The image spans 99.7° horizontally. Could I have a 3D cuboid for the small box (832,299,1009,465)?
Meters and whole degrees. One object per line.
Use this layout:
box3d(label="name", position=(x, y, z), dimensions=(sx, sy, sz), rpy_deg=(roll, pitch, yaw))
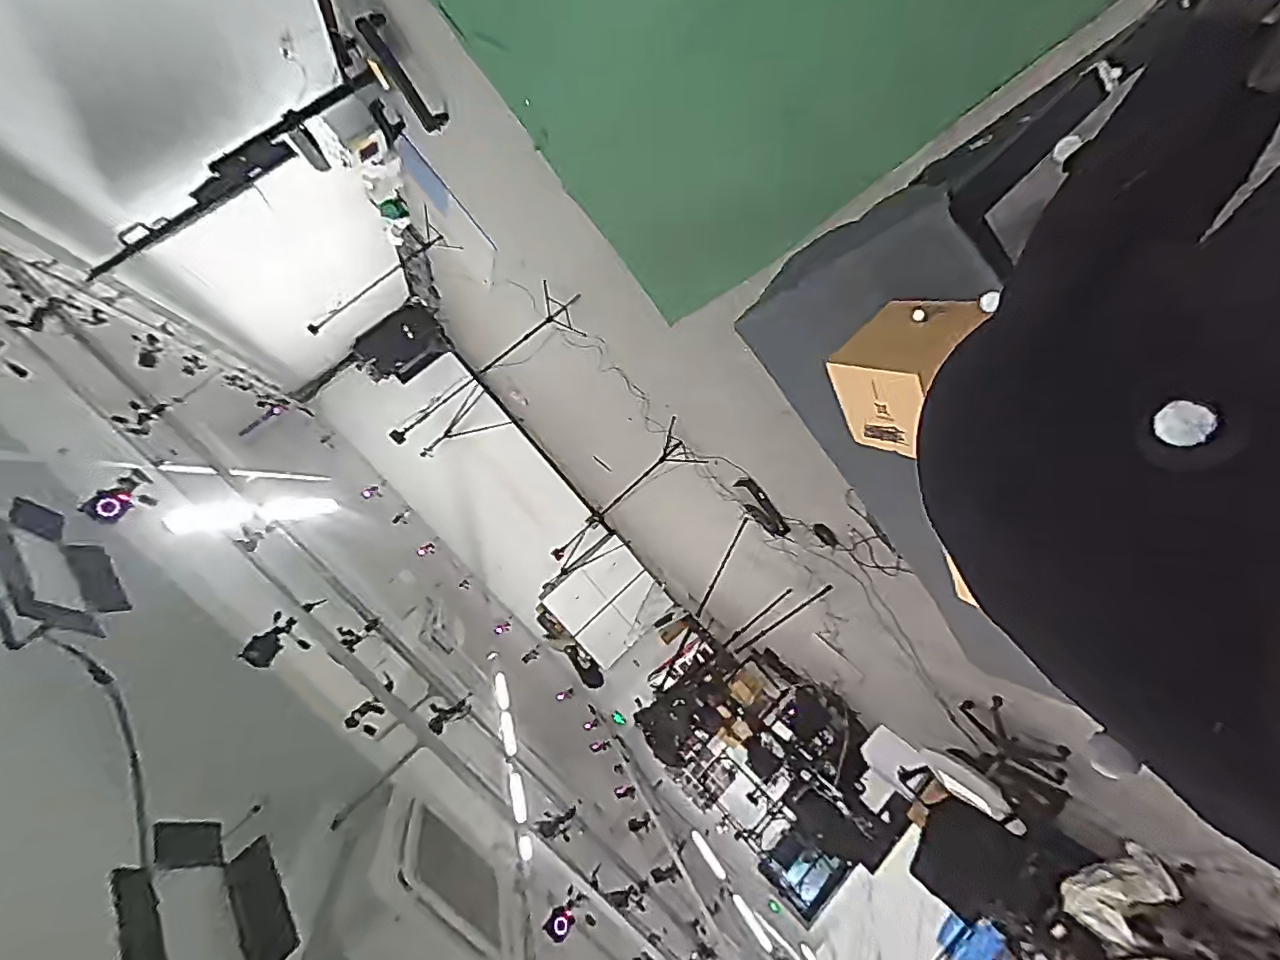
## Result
box3d(label="small box", position=(0.442, -0.157, 0.846), dimensions=(0.179, 0.176, 0.168), rpy_deg=(54, 167, -31))
